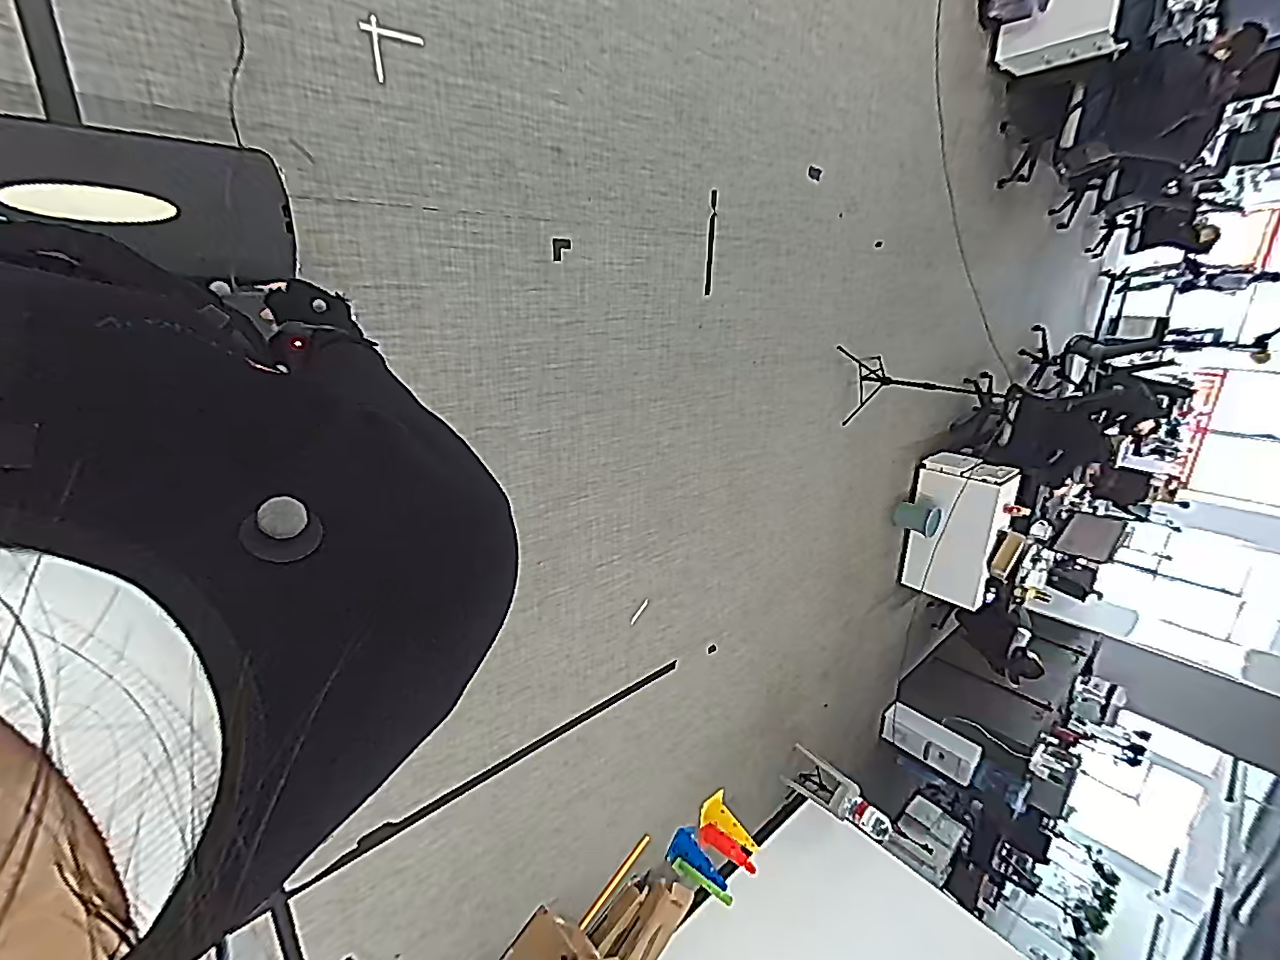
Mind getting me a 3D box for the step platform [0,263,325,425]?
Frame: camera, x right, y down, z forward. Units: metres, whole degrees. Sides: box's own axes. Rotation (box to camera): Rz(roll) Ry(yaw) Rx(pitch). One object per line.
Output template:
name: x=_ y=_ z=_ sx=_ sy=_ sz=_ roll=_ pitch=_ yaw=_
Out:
step platform: x=-1.047 y=-0.292 z=1.119 sx=0.684 sy=0.204 sz=0.286 roll=-16 pitch=114 yaw=-37
